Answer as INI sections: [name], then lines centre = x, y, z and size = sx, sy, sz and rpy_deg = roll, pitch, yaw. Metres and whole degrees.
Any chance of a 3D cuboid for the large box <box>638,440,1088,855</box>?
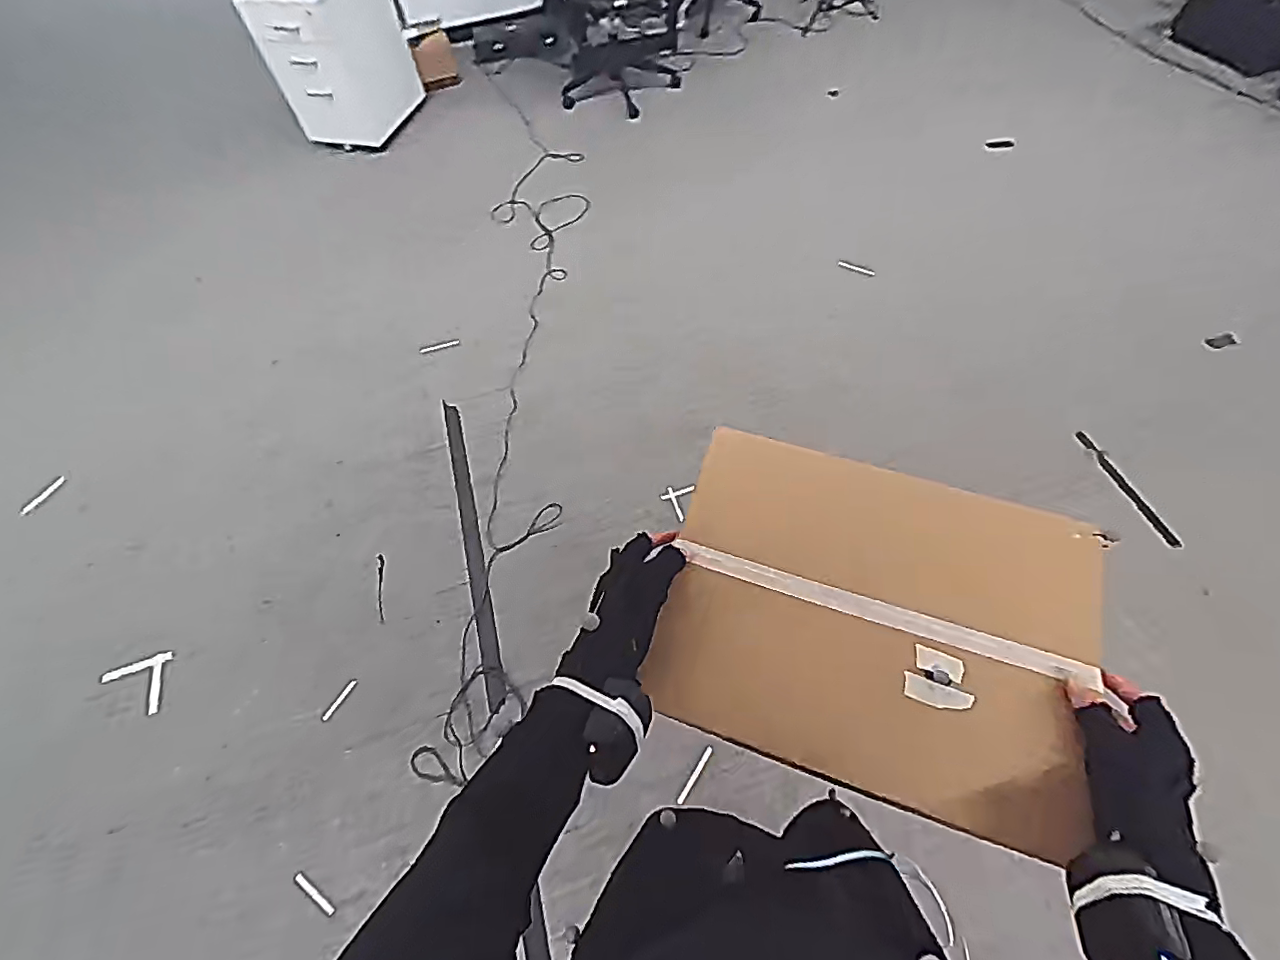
[large box]
centre = 0.240, 0.195, 0.682
size = 0.408, 0.320, 0.320
rpy_deg = 16, 69, 12
